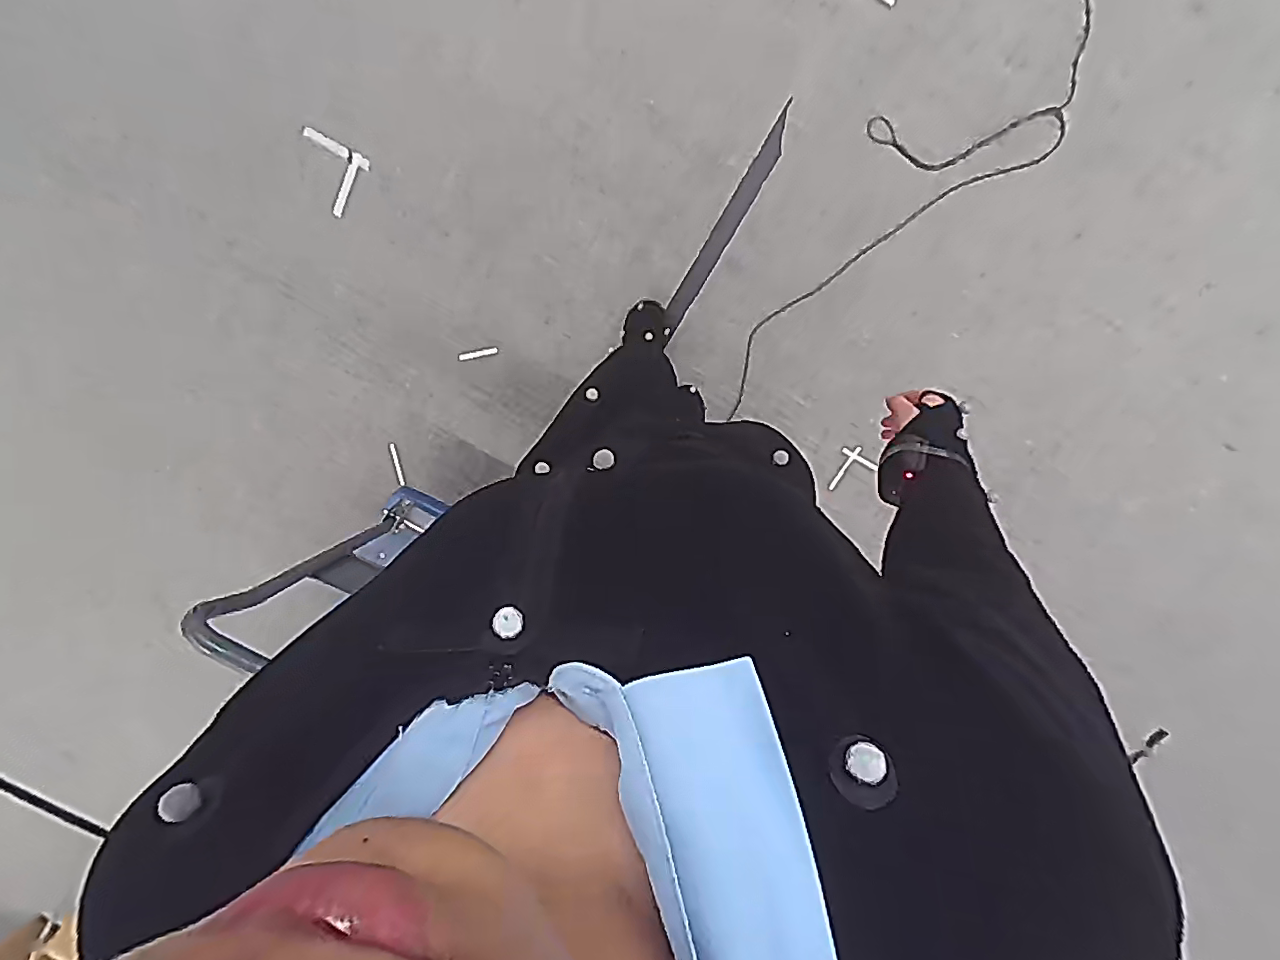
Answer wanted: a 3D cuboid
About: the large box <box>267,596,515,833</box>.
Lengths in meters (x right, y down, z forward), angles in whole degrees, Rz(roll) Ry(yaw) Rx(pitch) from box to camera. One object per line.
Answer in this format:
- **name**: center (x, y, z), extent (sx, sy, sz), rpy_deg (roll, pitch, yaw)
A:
- **large box**: center (-0.585, 0.555, 1.333), extent (0.408, 0.320, 0.320), rpy_deg (30, 104, -6)
